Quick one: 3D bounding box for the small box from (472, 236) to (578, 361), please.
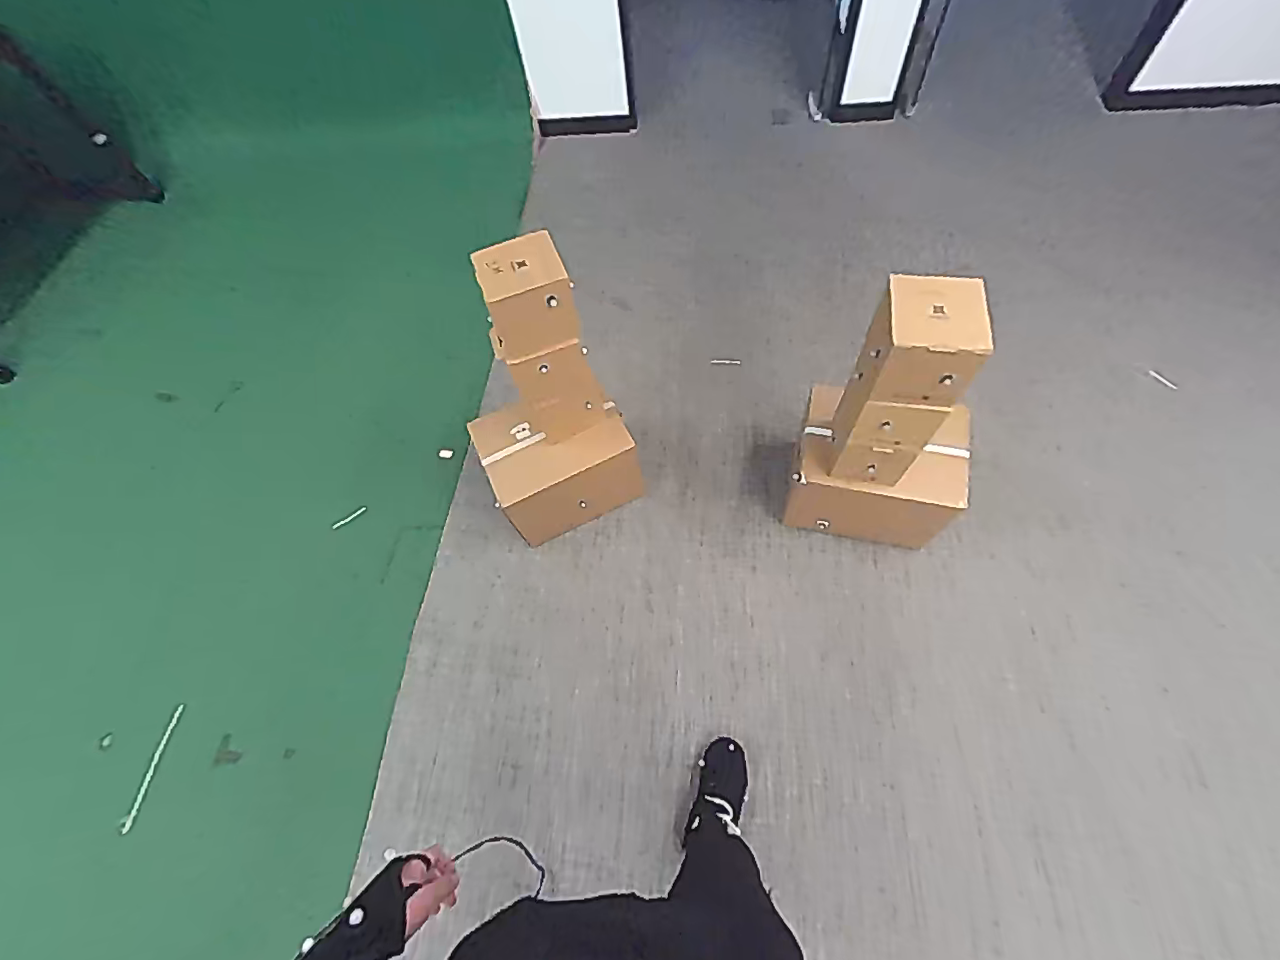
[{"bbox_3d":[-0.243,-0.393,1.184,0.179,0.176,0.168,-20,61,-5],"label":"small box"}]

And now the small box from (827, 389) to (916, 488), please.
[{"bbox_3d":[0.562,-0.097,1.324,0.168,0.176,0.179,8,65,9],"label":"small box"}]

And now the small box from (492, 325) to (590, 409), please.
[{"bbox_3d":[-0.237,-0.300,1.321,0.179,0.176,0.168,-20,62,-5],"label":"small box"}]

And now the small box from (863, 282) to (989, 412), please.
[{"bbox_3d":[0.537,-0.251,1.038,0.168,0.176,0.179,7,63,8],"label":"small box"}]

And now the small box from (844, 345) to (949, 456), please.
[{"bbox_3d":[0.551,-0.170,1.179,0.168,0.176,0.179,7,63,10],"label":"small box"}]

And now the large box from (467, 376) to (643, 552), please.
[{"bbox_3d":[-0.243,-0.041,1.650,0.408,0.320,0.320,-27,62,-7],"label":"large box"}]
